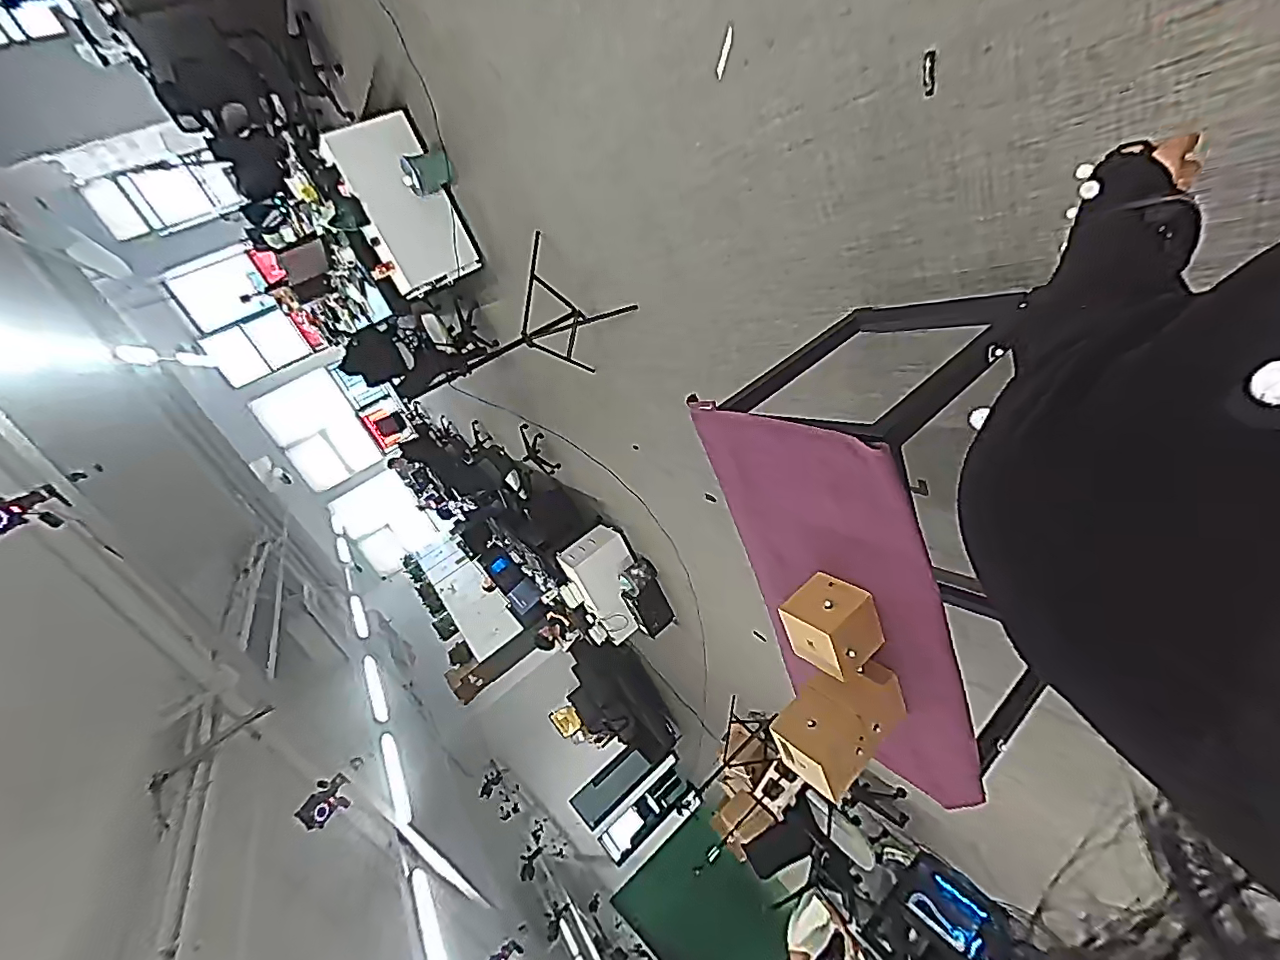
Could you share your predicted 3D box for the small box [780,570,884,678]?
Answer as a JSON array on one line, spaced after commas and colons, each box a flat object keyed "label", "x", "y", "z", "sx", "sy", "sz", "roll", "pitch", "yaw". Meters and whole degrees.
[{"label": "small box", "x": 0.496, "y": 0.360, "z": 1.390, "sx": 0.168, "sy": 0.176, "sz": 0.179, "roll": 20, "pitch": 141, "yaw": 56}]

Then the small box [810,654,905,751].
[{"label": "small box", "x": 0.609, "y": 0.597, "z": 1.502, "sx": 0.168, "sy": 0.176, "sz": 0.179, "roll": 19, "pitch": 138, "yaw": 56}]
